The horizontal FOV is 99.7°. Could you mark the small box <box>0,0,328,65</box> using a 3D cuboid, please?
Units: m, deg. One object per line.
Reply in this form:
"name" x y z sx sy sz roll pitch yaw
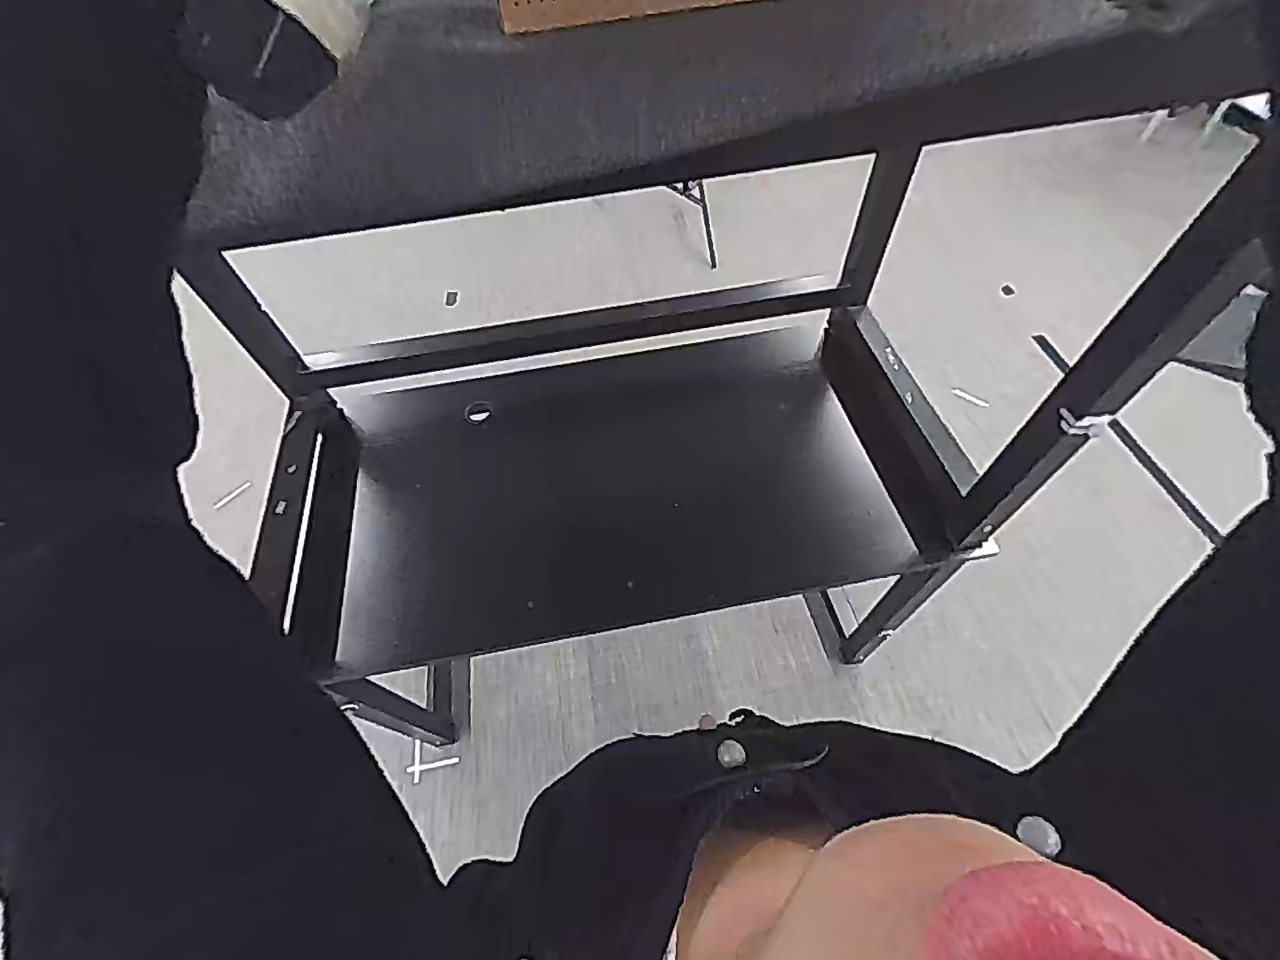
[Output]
"small box" -0.266 -0.326 0.261 0.168 0.176 0.179 -8 55 -2
